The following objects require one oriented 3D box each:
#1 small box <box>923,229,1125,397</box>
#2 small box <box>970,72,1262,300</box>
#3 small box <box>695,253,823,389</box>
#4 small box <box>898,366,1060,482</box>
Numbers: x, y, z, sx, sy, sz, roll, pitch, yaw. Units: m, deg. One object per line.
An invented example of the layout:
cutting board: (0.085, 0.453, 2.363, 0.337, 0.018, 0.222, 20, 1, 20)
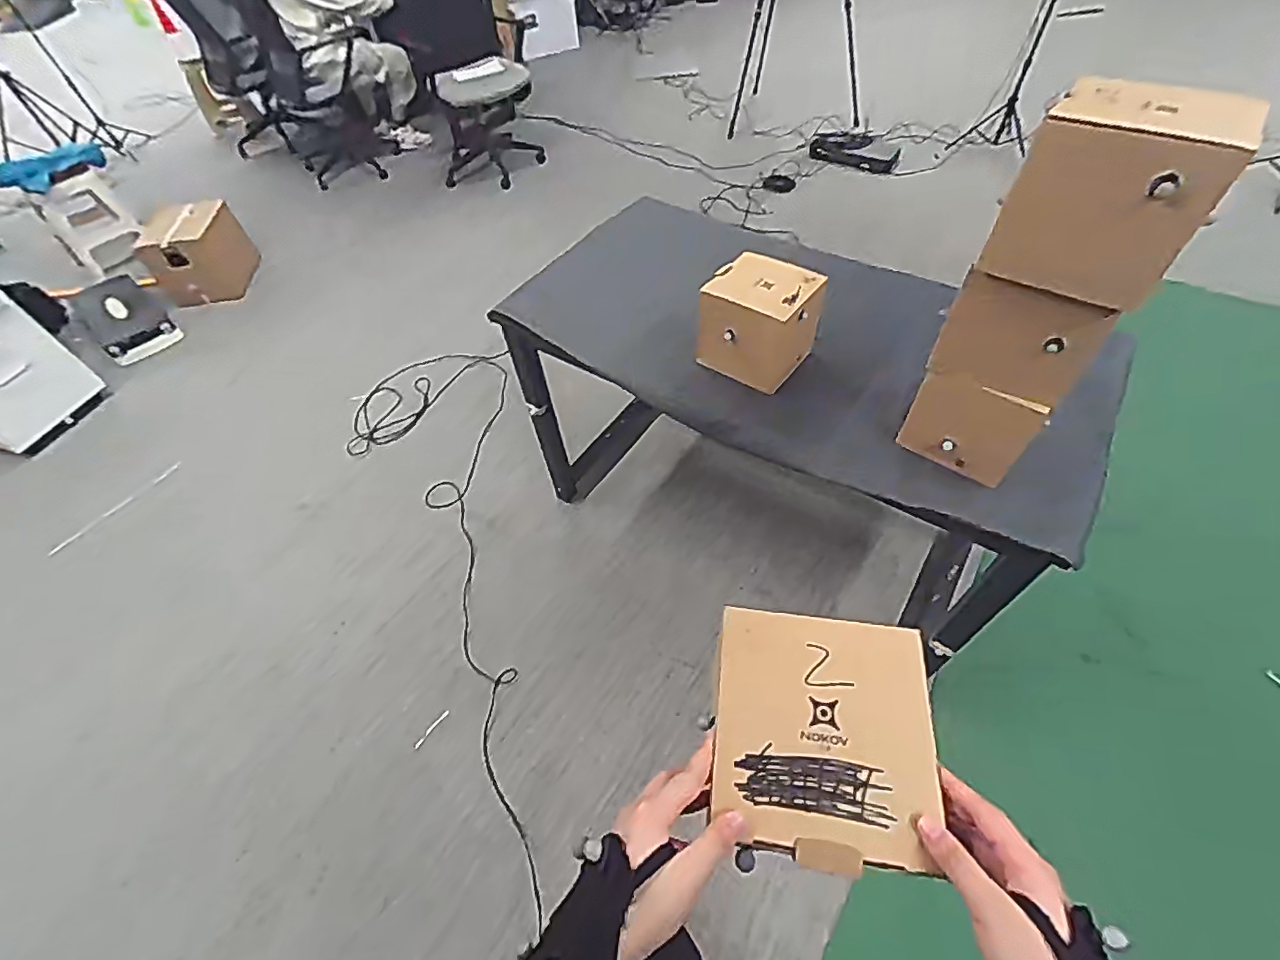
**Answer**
small box: (0.528, -0.240, 0.750, 0.179, 0.176, 0.168, 25, 55, 24)
small box: (0.517, -0.327, 0.608, 0.179, 0.176, 0.168, 30, 57, 26)
small box: (0.221, -0.302, 1.038, 0.179, 0.176, 0.168, 29, 59, 26)
small box: (0.546, -0.132, 0.869, 0.168, 0.176, 0.179, 32, 60, 28)
